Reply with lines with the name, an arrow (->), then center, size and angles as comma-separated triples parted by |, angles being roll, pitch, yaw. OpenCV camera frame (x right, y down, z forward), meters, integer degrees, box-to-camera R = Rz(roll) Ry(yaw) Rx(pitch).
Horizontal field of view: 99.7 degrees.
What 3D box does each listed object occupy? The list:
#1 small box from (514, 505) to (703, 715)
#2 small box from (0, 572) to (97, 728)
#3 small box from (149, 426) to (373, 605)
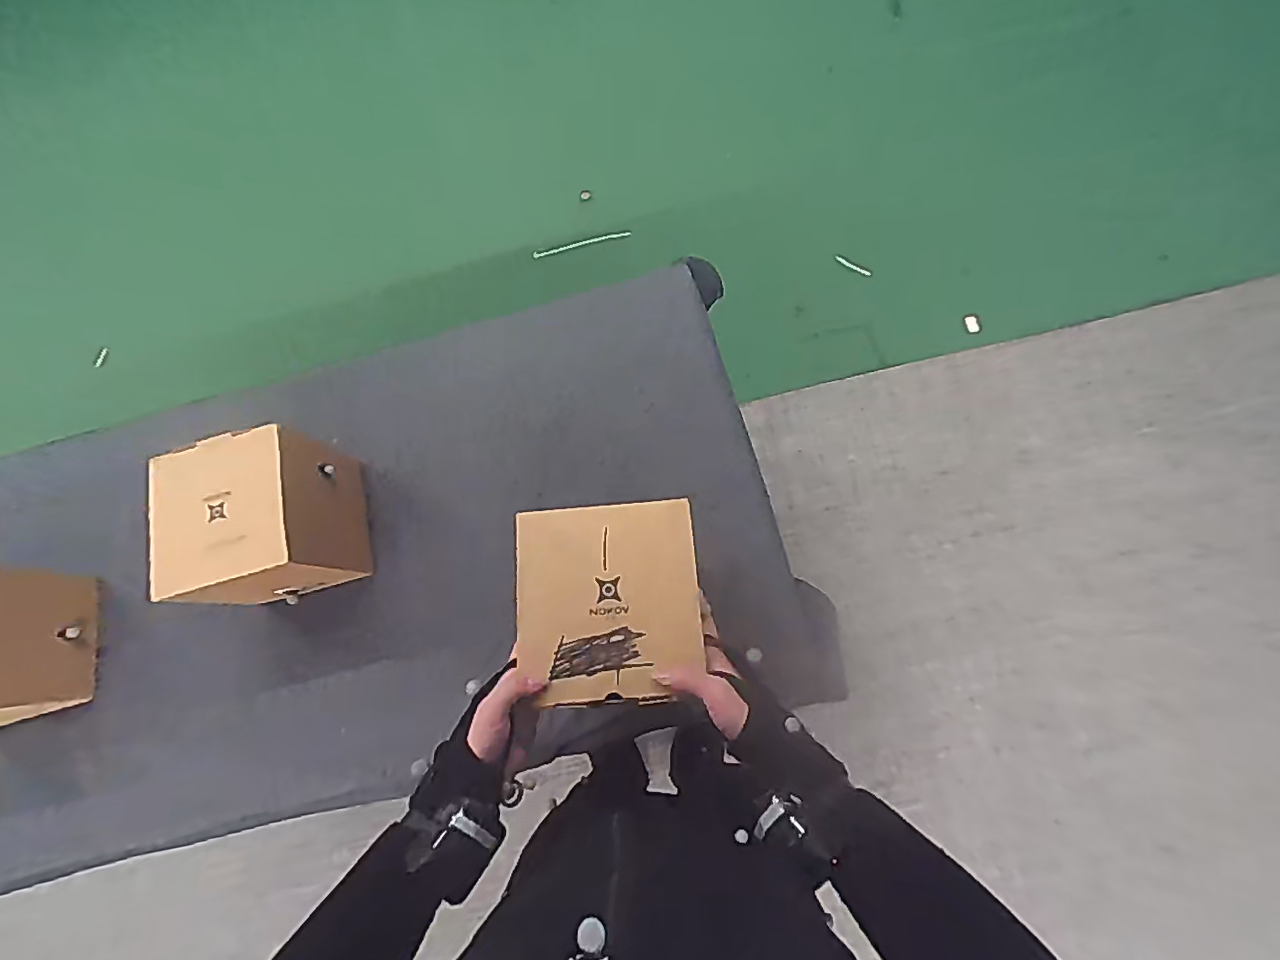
small box -> -0.027, 0.133, 0.558 | 0.168, 0.176, 0.179 | -4, 73, 1
small box -> -0.847, 0.221, 0.683 | 0.168, 0.176, 0.179 | -16, 74, 1
small box -> -0.474, 0.056, 0.696 | 0.168, 0.176, 0.179 | -16, 76, 2
